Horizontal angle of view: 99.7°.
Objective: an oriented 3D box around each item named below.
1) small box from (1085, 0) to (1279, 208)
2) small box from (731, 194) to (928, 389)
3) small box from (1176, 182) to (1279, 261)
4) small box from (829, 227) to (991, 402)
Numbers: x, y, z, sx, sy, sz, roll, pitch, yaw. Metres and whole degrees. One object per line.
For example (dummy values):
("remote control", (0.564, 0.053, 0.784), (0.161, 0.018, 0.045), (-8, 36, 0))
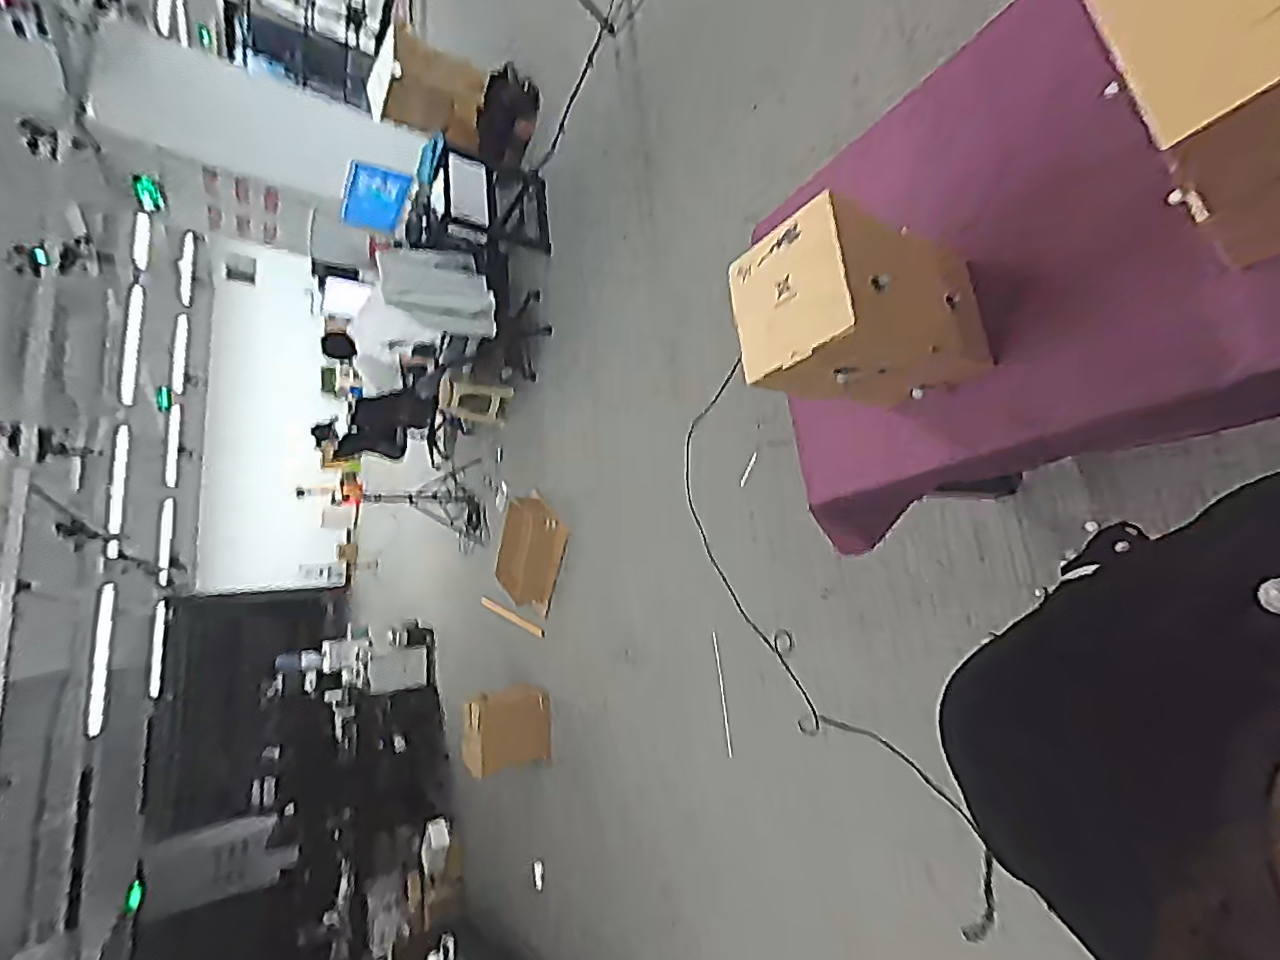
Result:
("small box", (0.471, -0.342, 0.397), (0.168, 0.176, 0.179), (-28, 66, 52))
("small box", (0.247, -0.228, 0.710), (0.168, 0.176, 0.179), (-22, 71, 52))
("small box", (0.606, -0.333, 0.489), (0.179, 0.176, 0.168), (-26, 66, 51))
("small box", (0.382, -0.230, 0.803), (0.168, 0.176, 0.179), (-23, 70, 52))
